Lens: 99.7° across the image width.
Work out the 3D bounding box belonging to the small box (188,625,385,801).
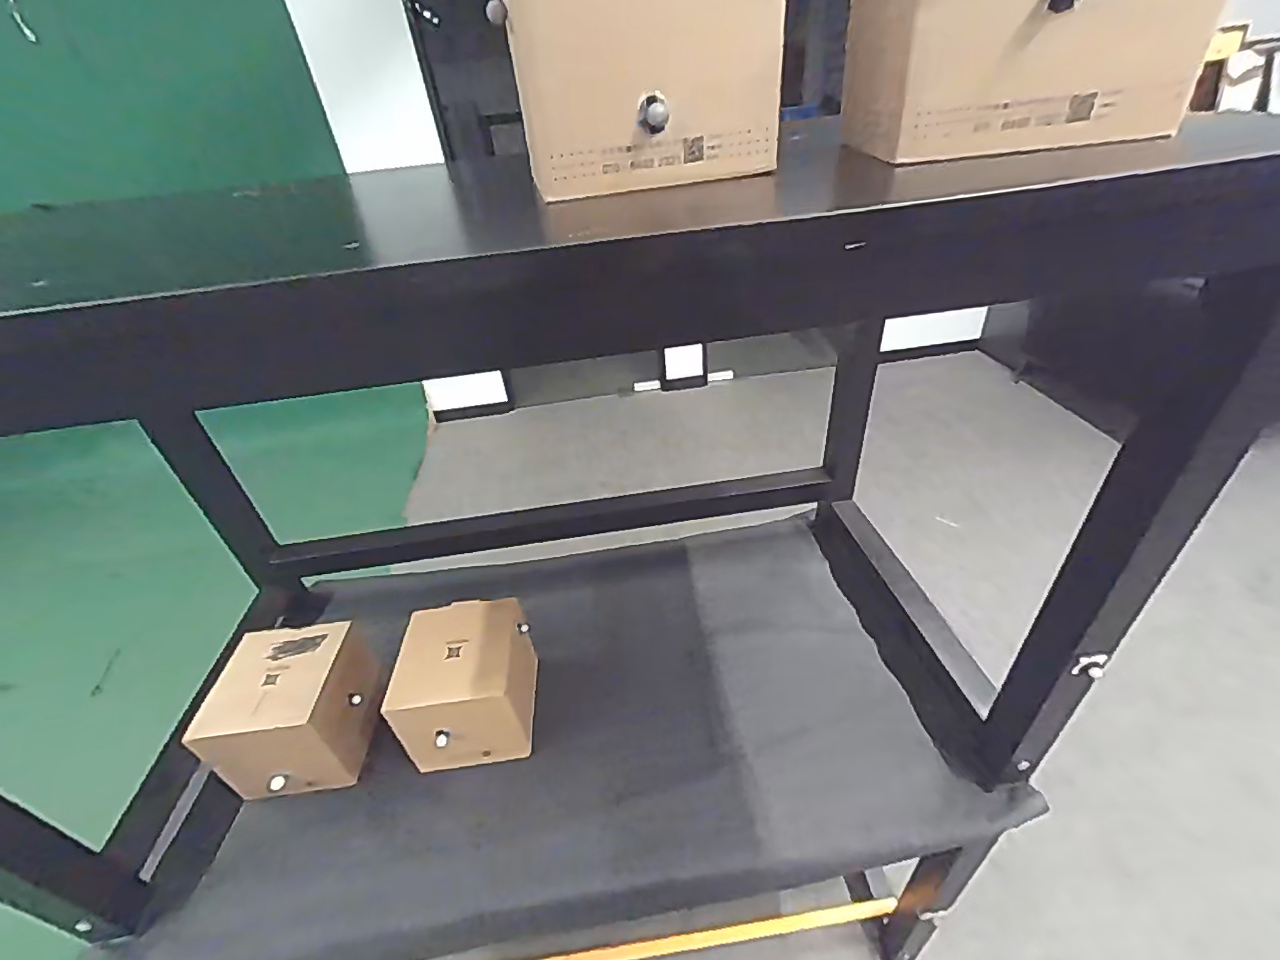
[{"bbox_3d":[-0.511,0.349,0.818,0.168,0.176,0.179,-7,36,-1],"label":"small box"}]

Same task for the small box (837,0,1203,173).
[{"bbox_3d":[0.242,-0.315,0.368,0.168,0.176,0.179,-1,35,7],"label":"small box"}]

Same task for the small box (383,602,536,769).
[{"bbox_3d":[-0.260,0.317,0.829,0.168,0.176,0.179,-7,35,-2],"label":"small box"}]
